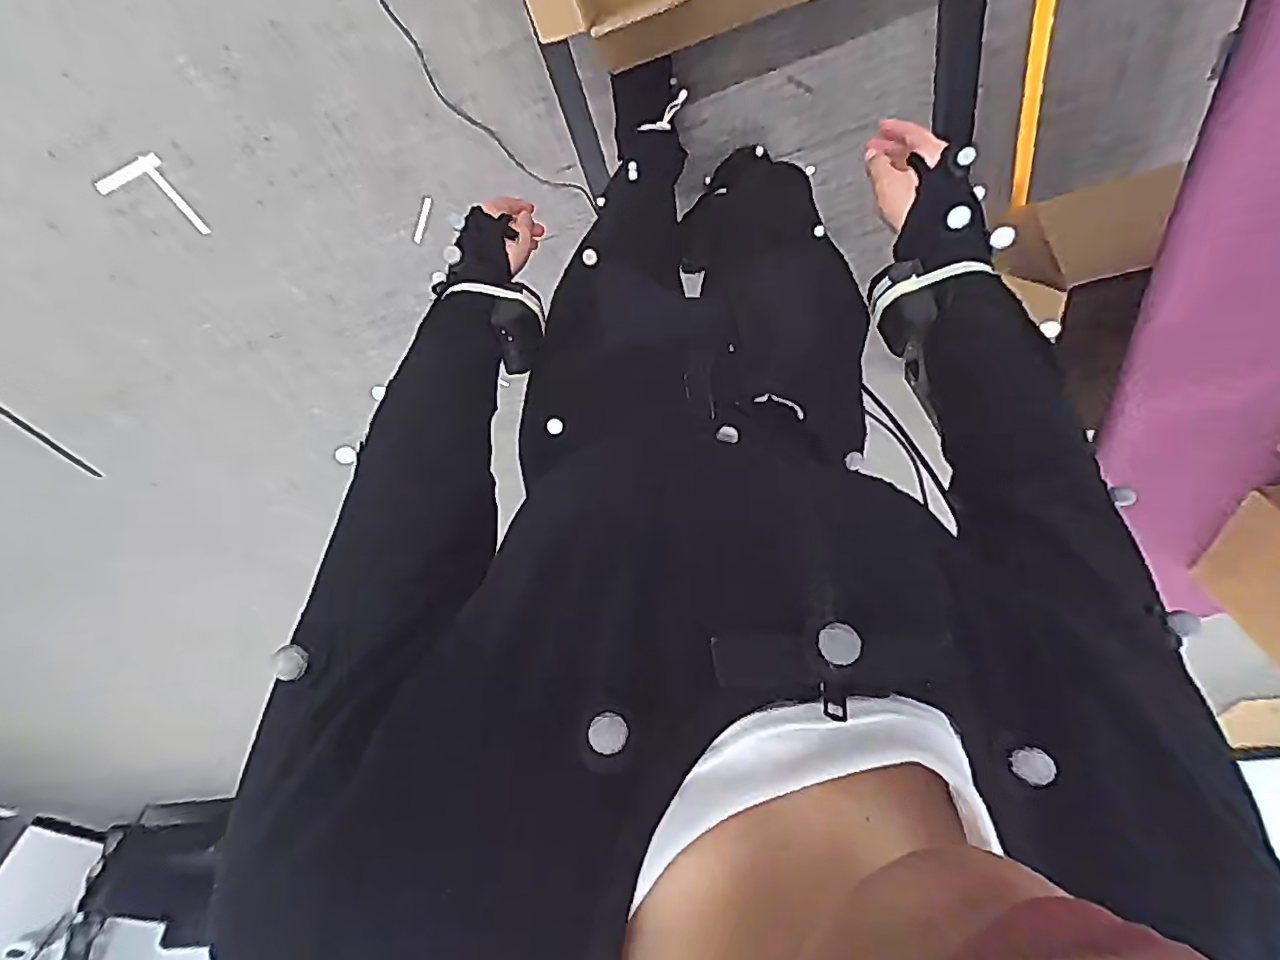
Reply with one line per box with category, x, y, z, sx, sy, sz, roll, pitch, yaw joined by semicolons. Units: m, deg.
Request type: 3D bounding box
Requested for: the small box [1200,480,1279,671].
small box;0.839;0.110;0.640;0.168;0.176;0.179;-10;133;9
